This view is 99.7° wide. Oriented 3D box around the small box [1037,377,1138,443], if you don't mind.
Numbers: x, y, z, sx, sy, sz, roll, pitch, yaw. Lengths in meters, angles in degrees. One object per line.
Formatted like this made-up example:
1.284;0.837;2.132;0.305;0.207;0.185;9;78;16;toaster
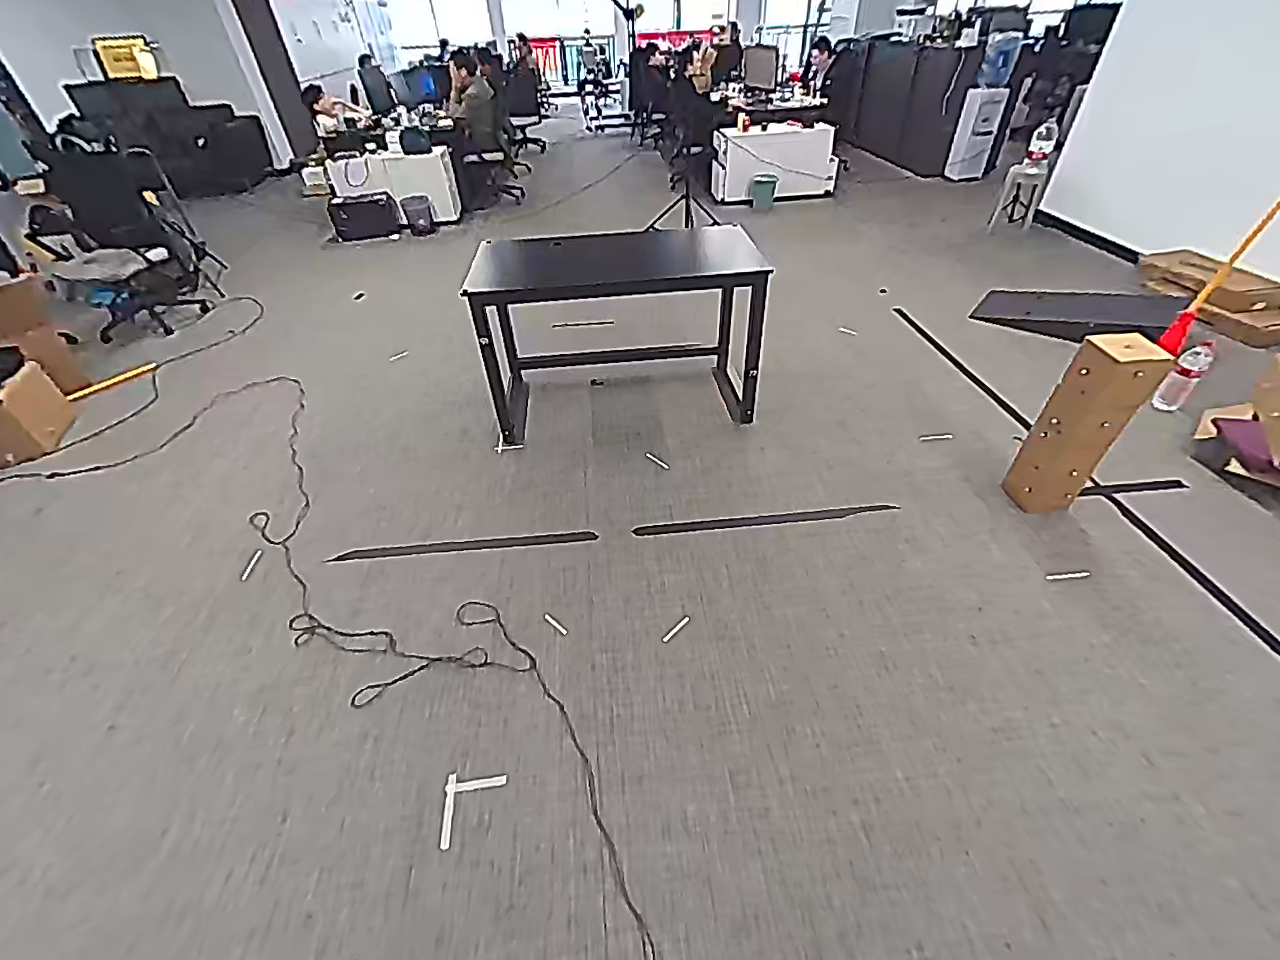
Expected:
1.530;-0.246;1.861;0.179;0.176;0.168;-8;42;-4;small box

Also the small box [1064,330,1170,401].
1.524;-0.367;1.749;0.179;0.176;0.168;-4;42;-1;small box

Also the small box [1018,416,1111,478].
1.537;-0.126;1.974;0.179;0.176;0.168;-7;41;-4;small box

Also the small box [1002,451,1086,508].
1.547;-0.004;2.083;0.168;0.176;0.179;-6;40;-3;small box
